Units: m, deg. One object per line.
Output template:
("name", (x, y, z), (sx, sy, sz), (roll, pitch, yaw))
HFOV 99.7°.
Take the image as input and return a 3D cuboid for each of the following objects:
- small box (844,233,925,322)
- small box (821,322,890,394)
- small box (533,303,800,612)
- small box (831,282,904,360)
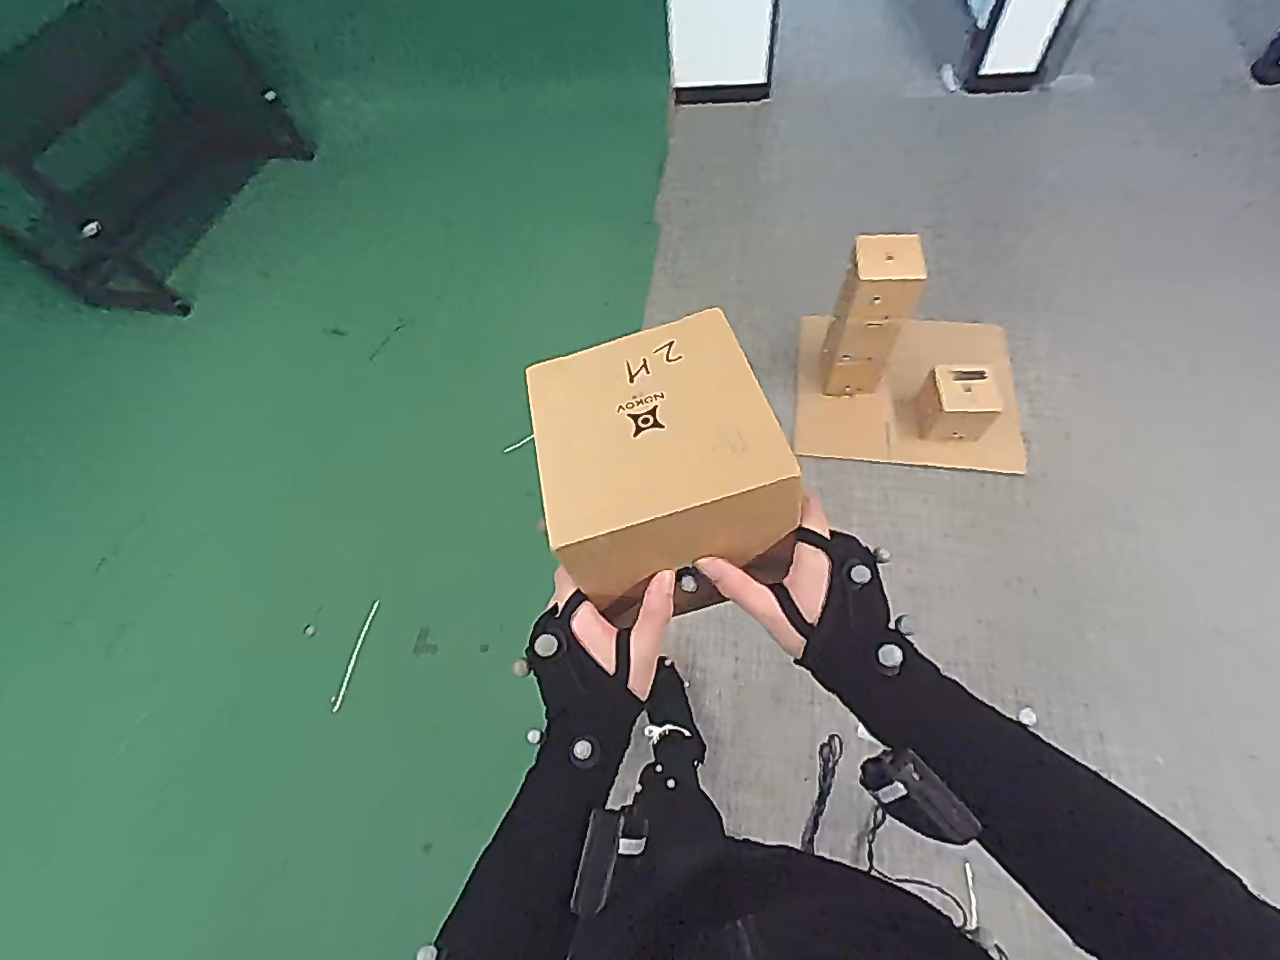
("small box", (0.676, -0.561, 1.513), (0.168, 0.176, 0.179), (2, 62, 9))
("small box", (0.708, -0.406, 1.797), (0.168, 0.176, 0.179), (-1, 62, 7))
("small box", (0.024, -0.006, 0.446), (0.168, 0.176, 0.179), (-16, 53, 3))
("small box", (0.690, -0.484, 1.654), (0.168, 0.176, 0.179), (2, 61, 9))
